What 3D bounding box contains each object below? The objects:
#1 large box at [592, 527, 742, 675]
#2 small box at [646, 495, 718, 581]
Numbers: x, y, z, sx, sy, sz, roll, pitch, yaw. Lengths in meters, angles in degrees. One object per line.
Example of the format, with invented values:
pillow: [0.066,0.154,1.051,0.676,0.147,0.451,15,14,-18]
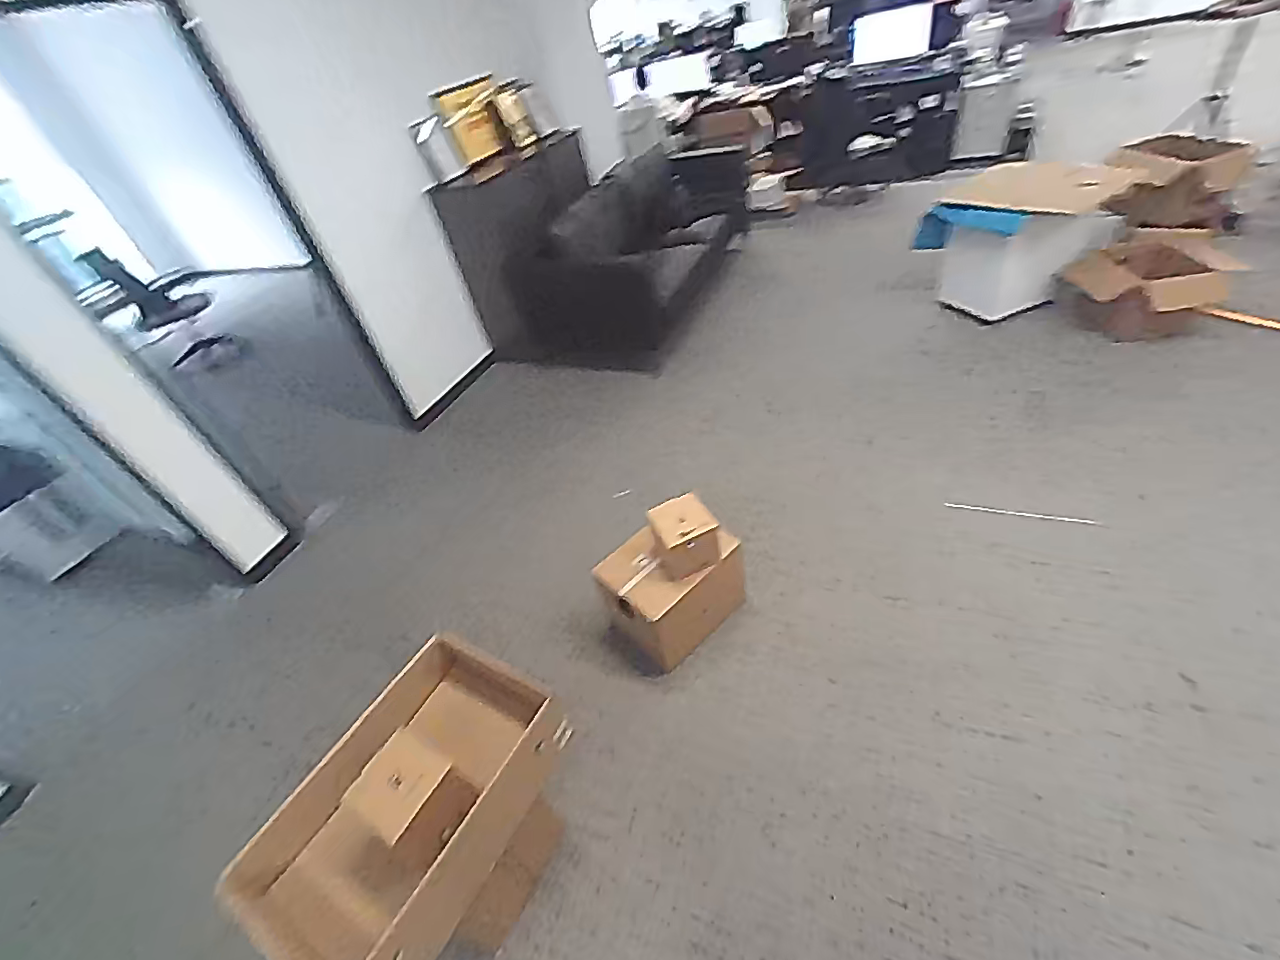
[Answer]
large box: [0.108,0.375,1.870,0.408,0.320,0.320,-38,45,-25]
small box: [0.133,0.182,1.703,0.168,0.176,0.179,-23,42,-11]
